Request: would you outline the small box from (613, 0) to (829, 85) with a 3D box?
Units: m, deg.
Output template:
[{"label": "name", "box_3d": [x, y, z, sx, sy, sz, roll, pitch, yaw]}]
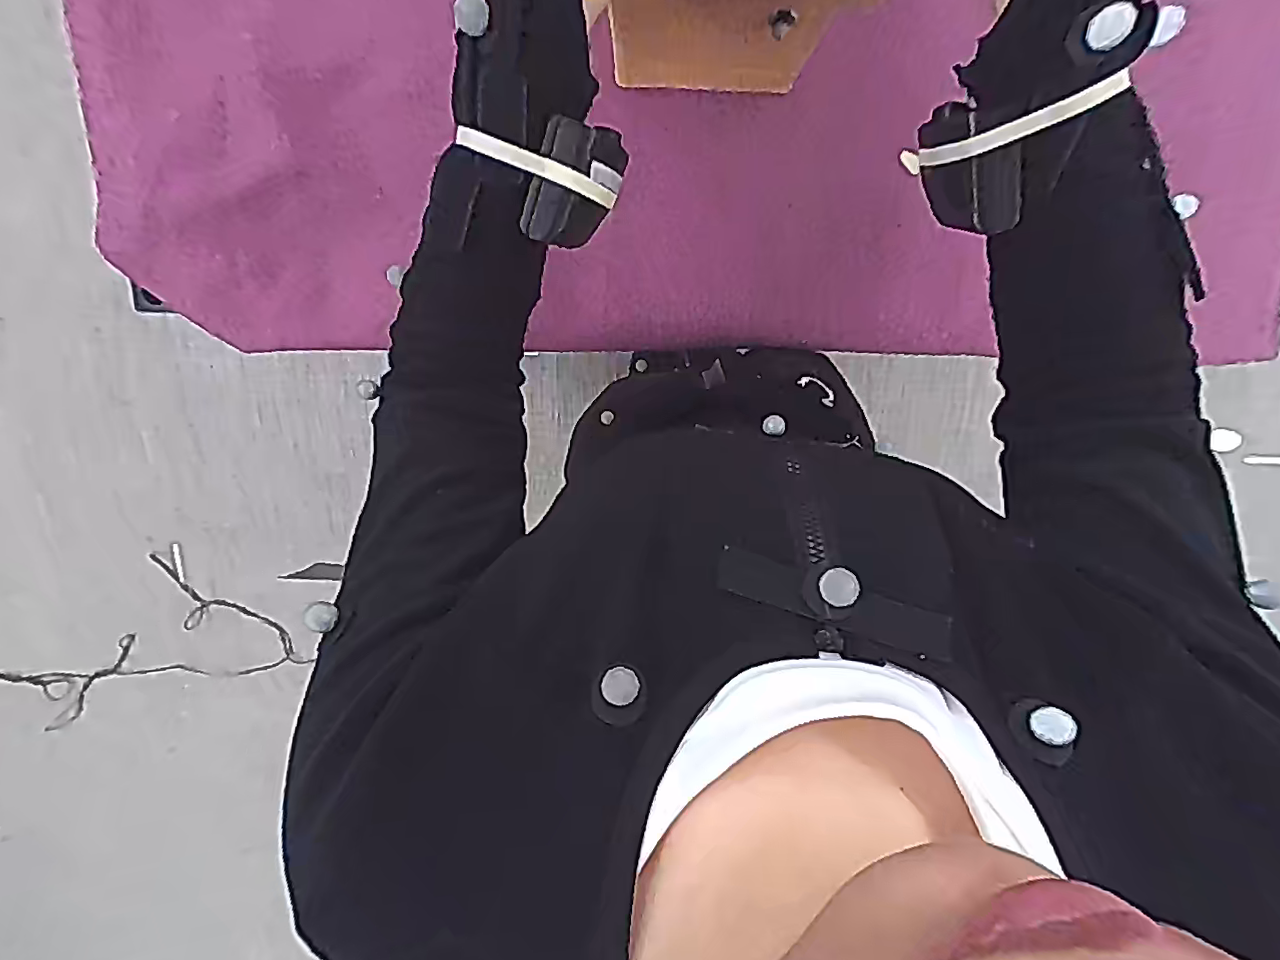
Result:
[{"label": "small box", "box_3d": [0.066, -0.448, 0.434, 0.179, 0.176, 0.168, 2, 105, -1]}]
